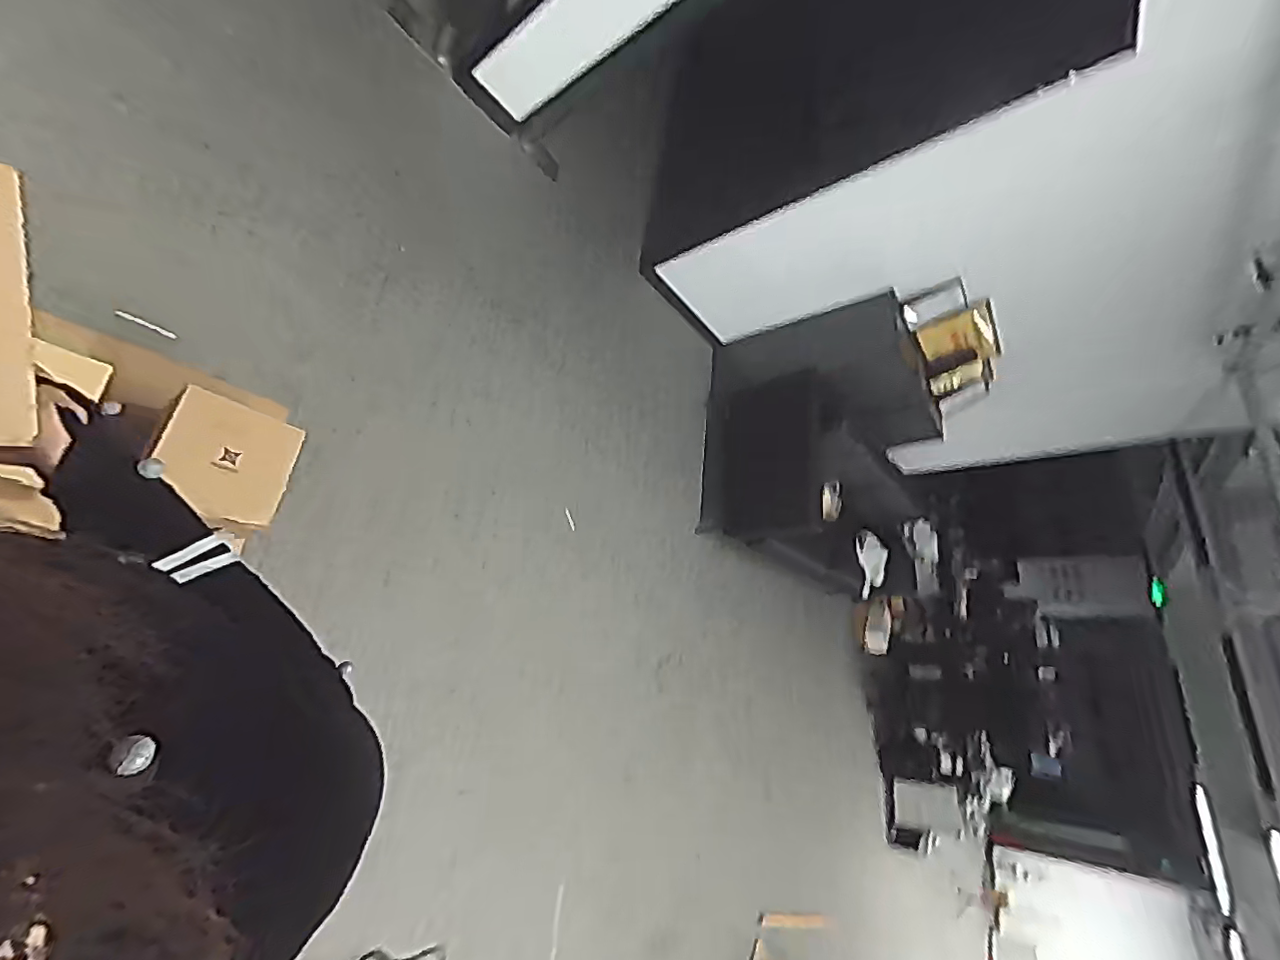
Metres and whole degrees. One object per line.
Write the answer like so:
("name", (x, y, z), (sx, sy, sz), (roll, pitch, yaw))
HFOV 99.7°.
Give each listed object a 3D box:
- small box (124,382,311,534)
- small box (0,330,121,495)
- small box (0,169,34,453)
("small box", (-0.666, -0.022, 0.852), (0.168, 0.176, 0.179), (33, 56, -44))
("small box", (-0.810, -0.090, 0.676), (0.168, 0.176, 0.179), (29, 62, -49))
("small box", (-0.500, -0.104, 0.316), (0.168, 0.176, 0.179), (-8, 99, -58))
